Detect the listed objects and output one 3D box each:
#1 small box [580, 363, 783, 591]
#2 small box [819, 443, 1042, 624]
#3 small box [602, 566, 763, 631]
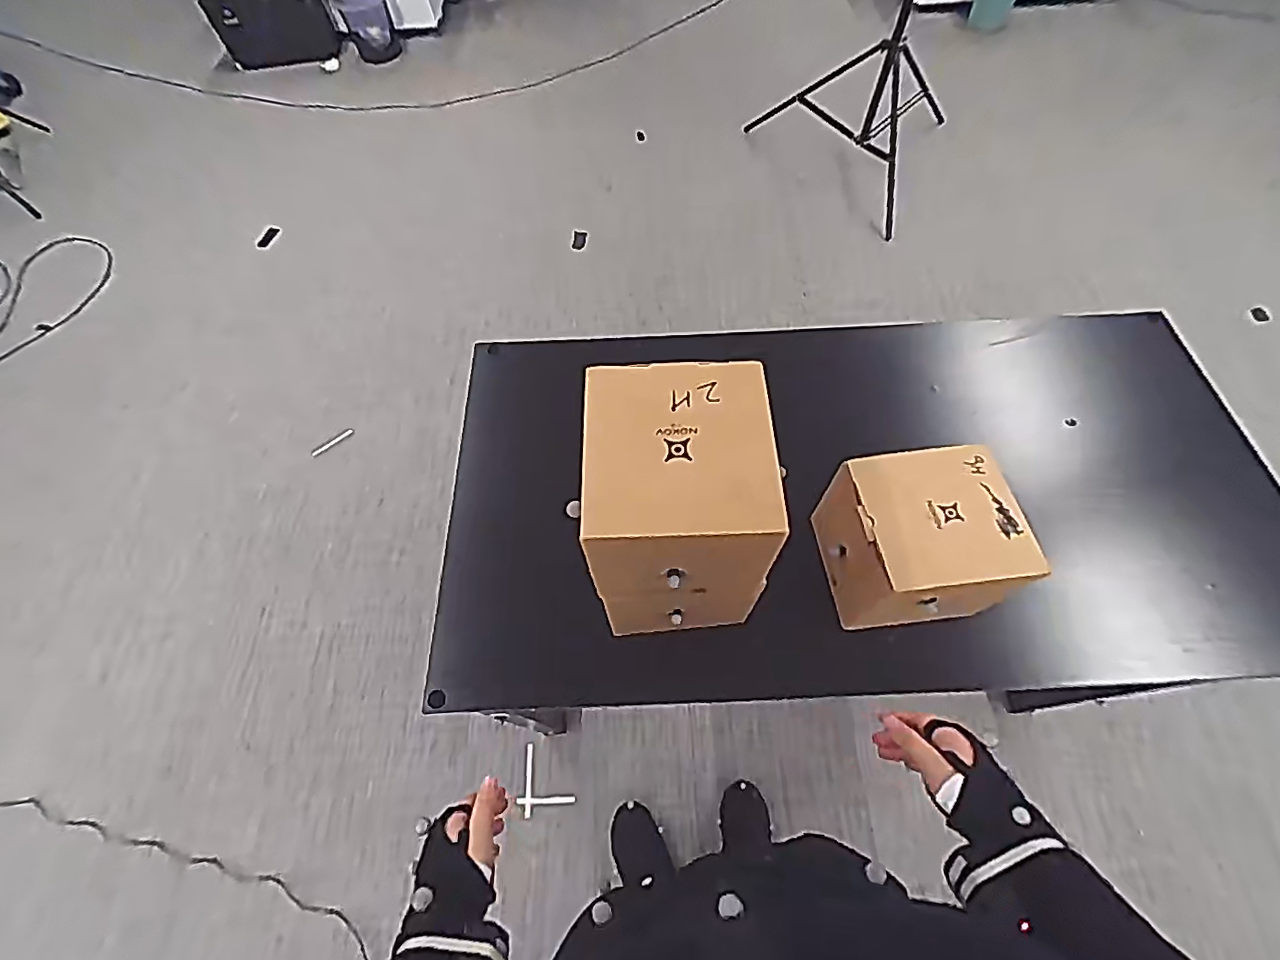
[{"bbox_3d":[0.035,0.007,0.538,0.168,0.176,0.179,-1,61,1],"label":"small box"},{"bbox_3d":[0.338,0.075,0.679,0.179,0.176,0.168,-7,61,-1],"label":"small box"},{"bbox_3d":[0.043,0.085,0.683,0.179,0.176,0.168,-6,61,0],"label":"small box"}]
